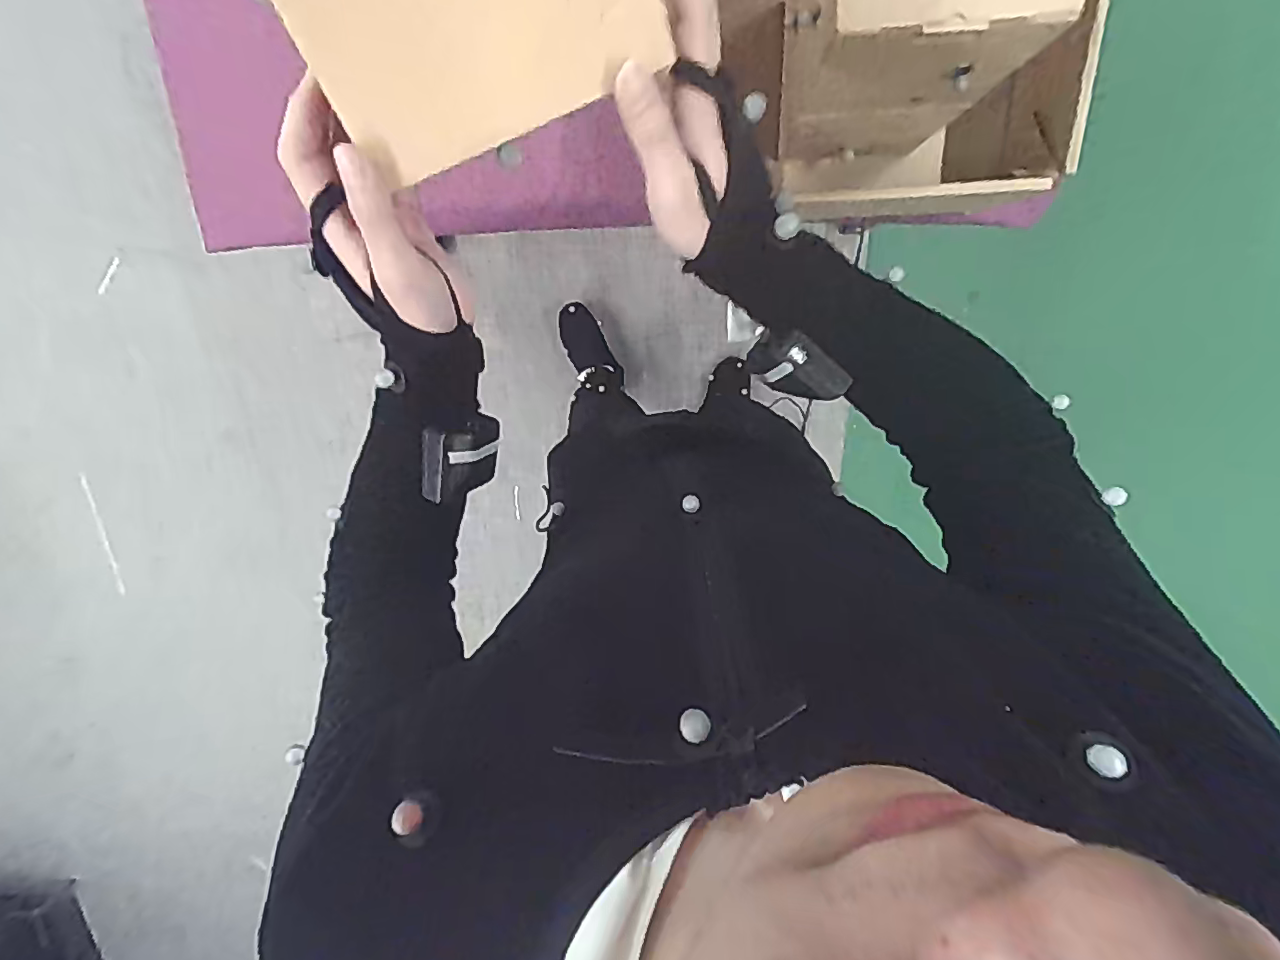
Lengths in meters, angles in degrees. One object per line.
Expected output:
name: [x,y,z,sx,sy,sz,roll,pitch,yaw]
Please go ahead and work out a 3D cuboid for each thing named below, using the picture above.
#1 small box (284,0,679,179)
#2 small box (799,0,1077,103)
small box: [-0.089,-0.290,0.284,0.168,0.176,0.179,-20,124,7]
small box: [0.225,-0.424,0.428,0.168,0.176,0.179,1,106,7]
